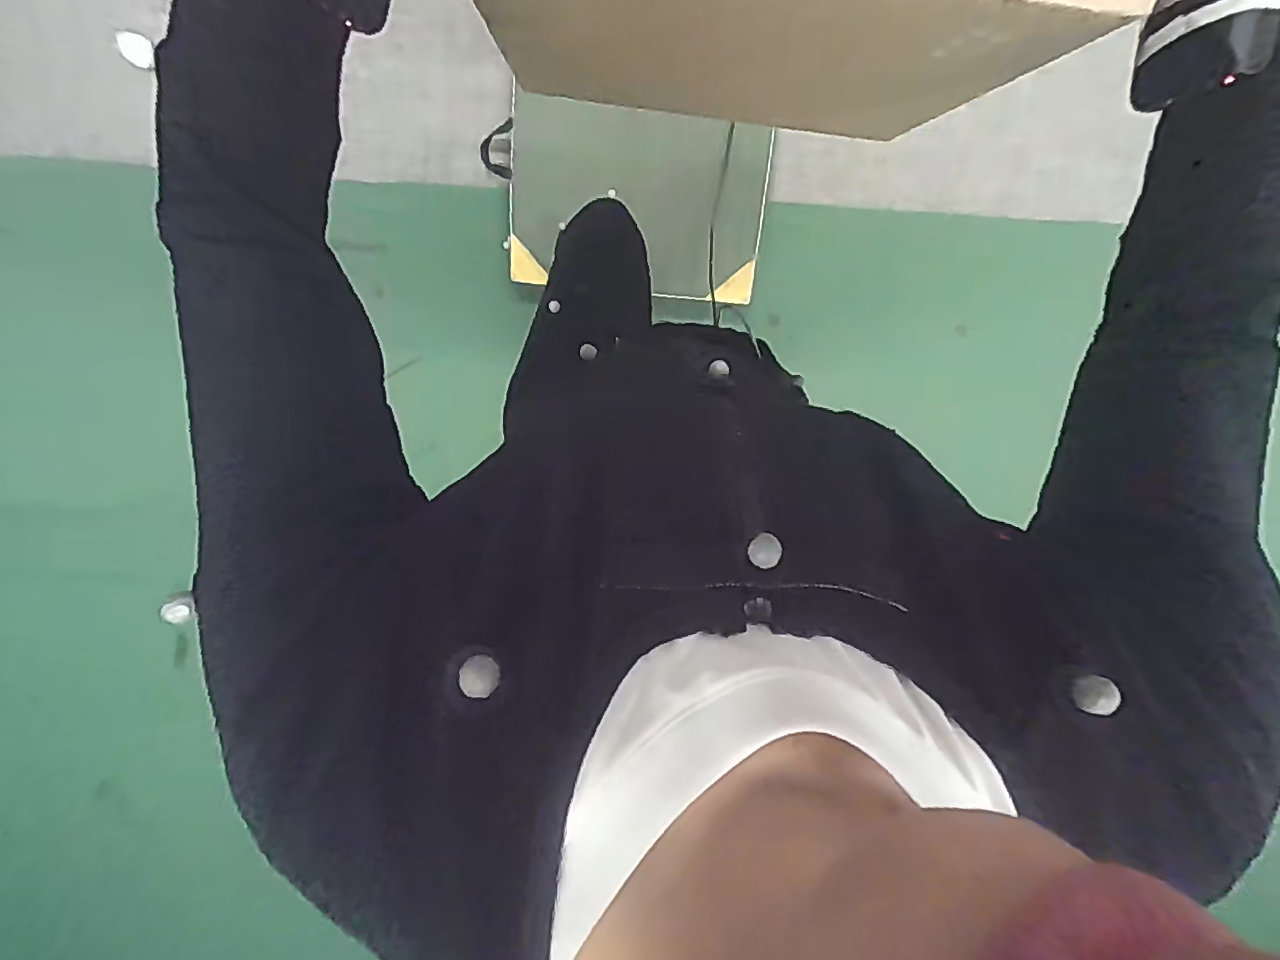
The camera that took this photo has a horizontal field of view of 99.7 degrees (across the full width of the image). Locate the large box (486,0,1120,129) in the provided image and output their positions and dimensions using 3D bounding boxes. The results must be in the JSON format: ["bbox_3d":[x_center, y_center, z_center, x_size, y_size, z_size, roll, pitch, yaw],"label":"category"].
[{"bbox_3d":[0.093,-0.484,0.388,0.408,0.320,0.320,4,111,-5],"label":"large box"}]
